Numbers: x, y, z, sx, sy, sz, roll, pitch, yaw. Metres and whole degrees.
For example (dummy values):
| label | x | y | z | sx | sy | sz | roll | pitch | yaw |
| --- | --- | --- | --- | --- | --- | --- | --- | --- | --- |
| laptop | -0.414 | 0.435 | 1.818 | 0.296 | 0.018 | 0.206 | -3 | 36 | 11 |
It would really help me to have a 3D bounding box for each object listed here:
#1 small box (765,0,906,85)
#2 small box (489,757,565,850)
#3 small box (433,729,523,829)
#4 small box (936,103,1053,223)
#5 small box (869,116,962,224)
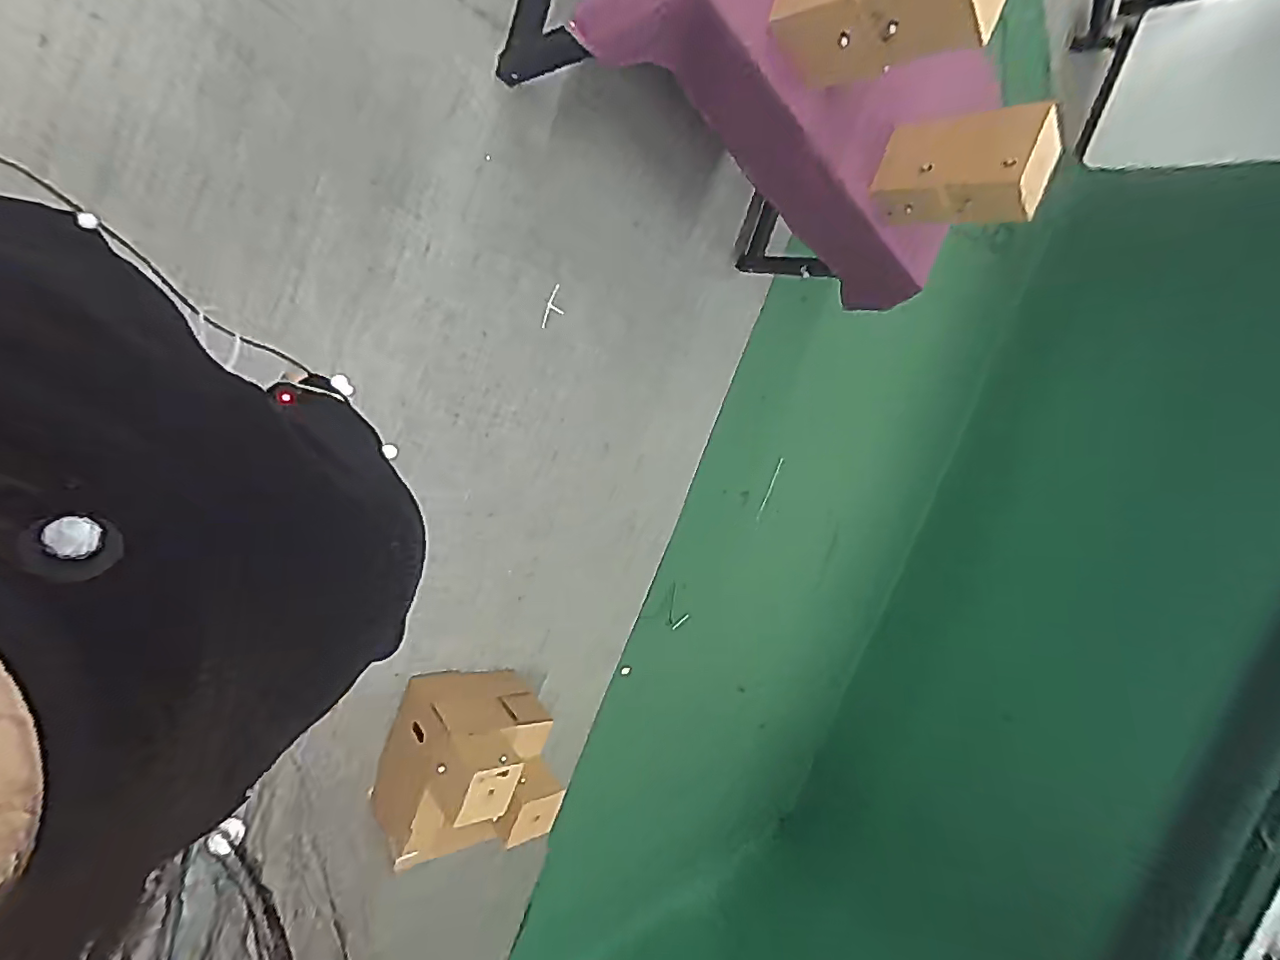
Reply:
| label | x | y | z | sx | sy | sz | roll | pitch | yaw |
| --- | --- | --- | --- | --- | --- | --- | --- | --- | --- |
| small box | 0.353 | -0.857 | 0.975 | 0.179 | 0.176 | 0.168 | 14 | 98 | -47 |
| small box | -0.378 | 1.031 | 1.738 | 0.179 | 0.176 | 0.168 | 13 | 101 | -48 |
| small box | -0.472 | 0.851 | 1.555 | 0.168 | 0.176 | 0.179 | 18 | 96 | -46 |
| small box | 0.815 | -0.720 | 1.248 | 0.168 | 0.176 | 0.179 | 15 | 98 | -47 |
| small box | 0.700 | -0.764 | 1.355 | 0.168 | 0.176 | 0.179 | 15 | 97 | -47 |
